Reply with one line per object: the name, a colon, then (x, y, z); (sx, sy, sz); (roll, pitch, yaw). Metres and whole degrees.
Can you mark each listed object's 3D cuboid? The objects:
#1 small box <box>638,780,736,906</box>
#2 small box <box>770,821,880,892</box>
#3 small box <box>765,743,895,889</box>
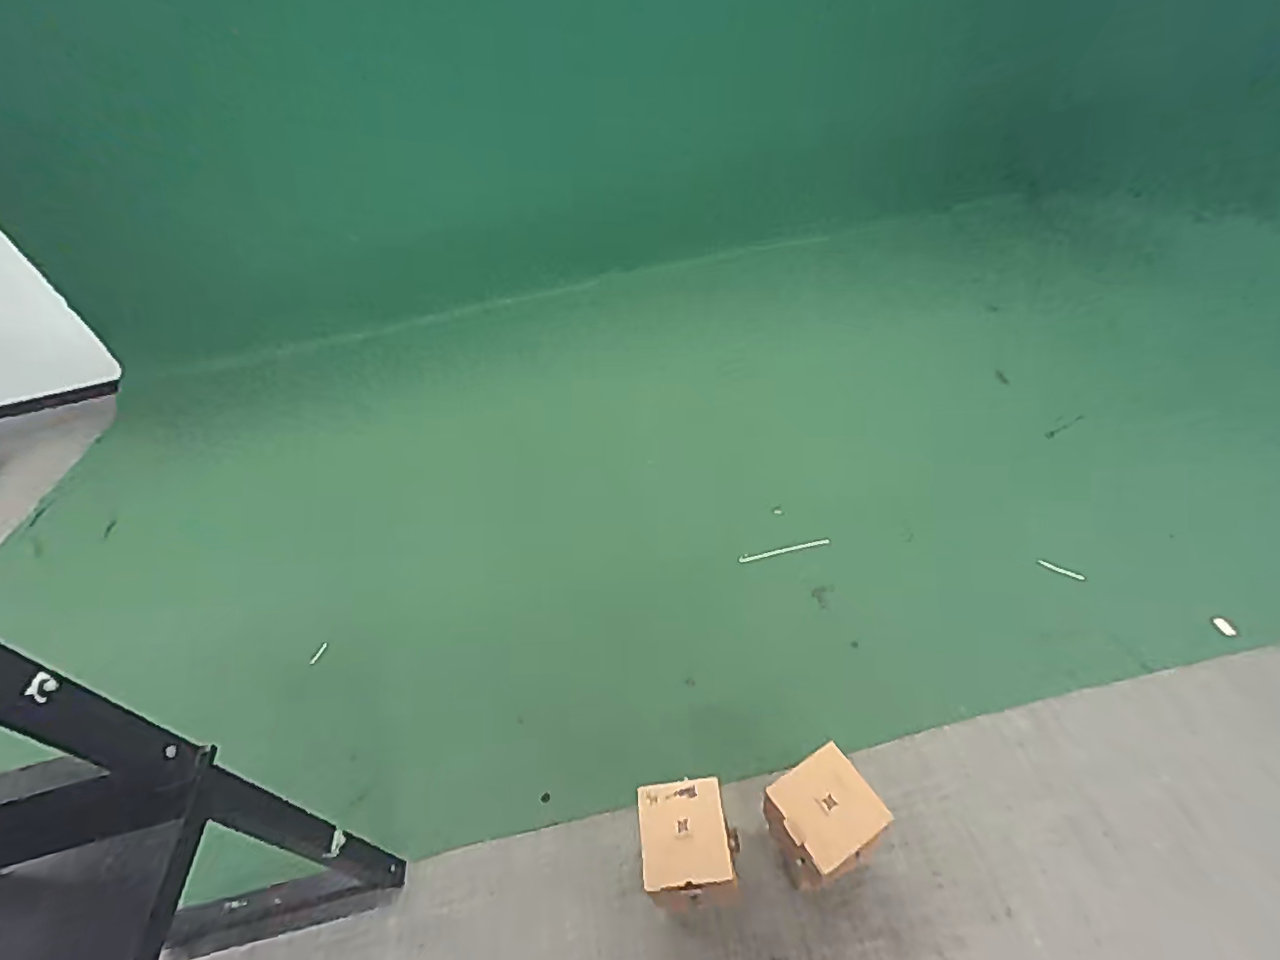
small box: (0.093, 0.723, 1.072); (0.168, 0.176, 0.179); (-9, 44, 4)
small box: (0.395, 0.775, 1.193); (0.179, 0.176, 0.168); (-17, 44, -7)
small box: (0.366, 0.669, 1.073); (0.179, 0.176, 0.168); (-27, 48, -16)
